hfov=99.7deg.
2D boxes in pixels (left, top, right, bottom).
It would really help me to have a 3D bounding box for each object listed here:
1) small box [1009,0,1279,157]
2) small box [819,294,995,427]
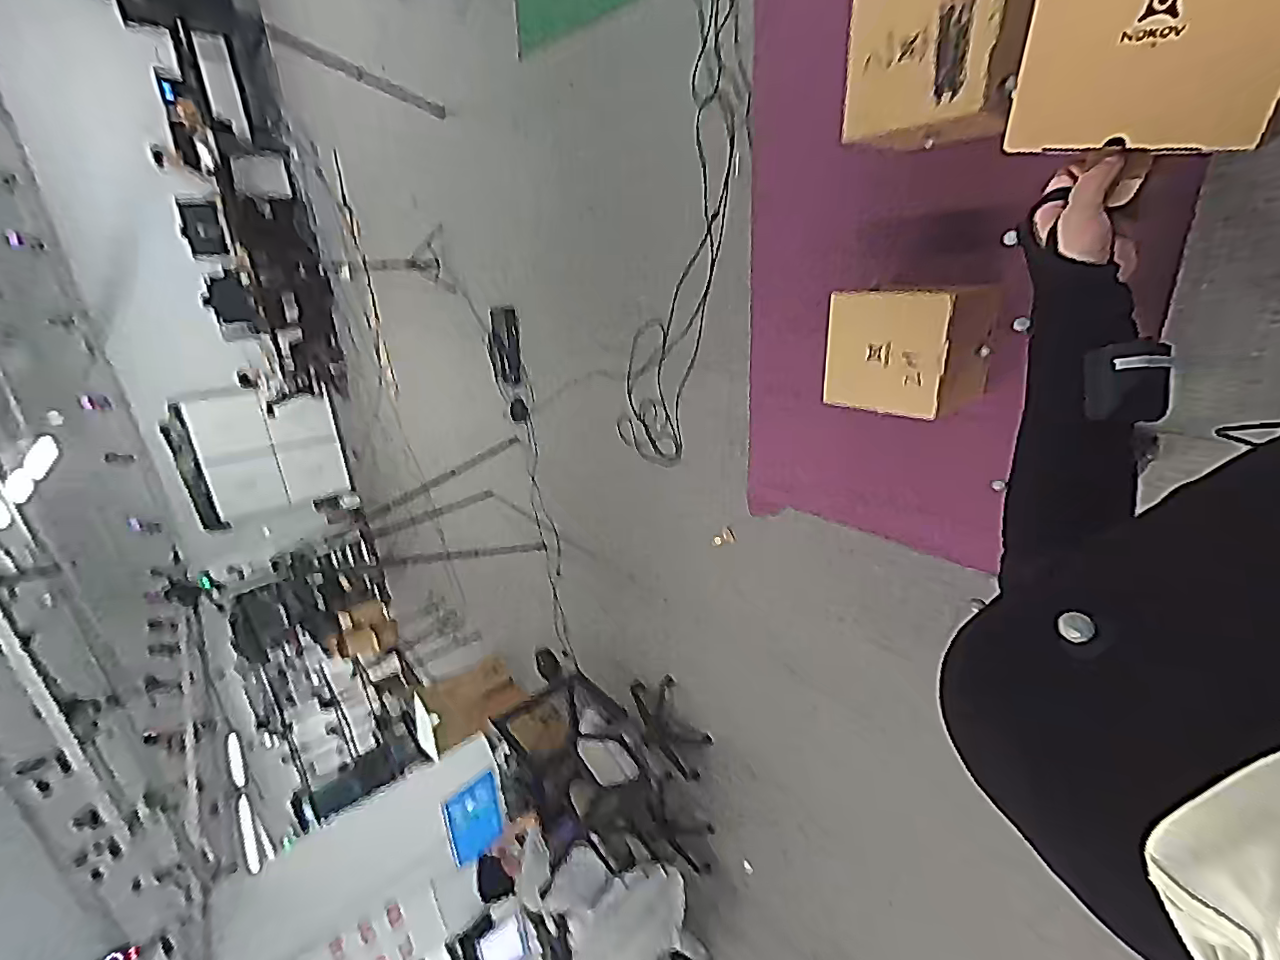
[{"bbox_3d":[0.422,-0.358,0.399,0.168,0.176,0.179,35,148,42],"label":"small box"},{"bbox_3d":[0.399,-0.190,0.819,0.179,0.176,0.168,20,121,46],"label":"small box"}]
